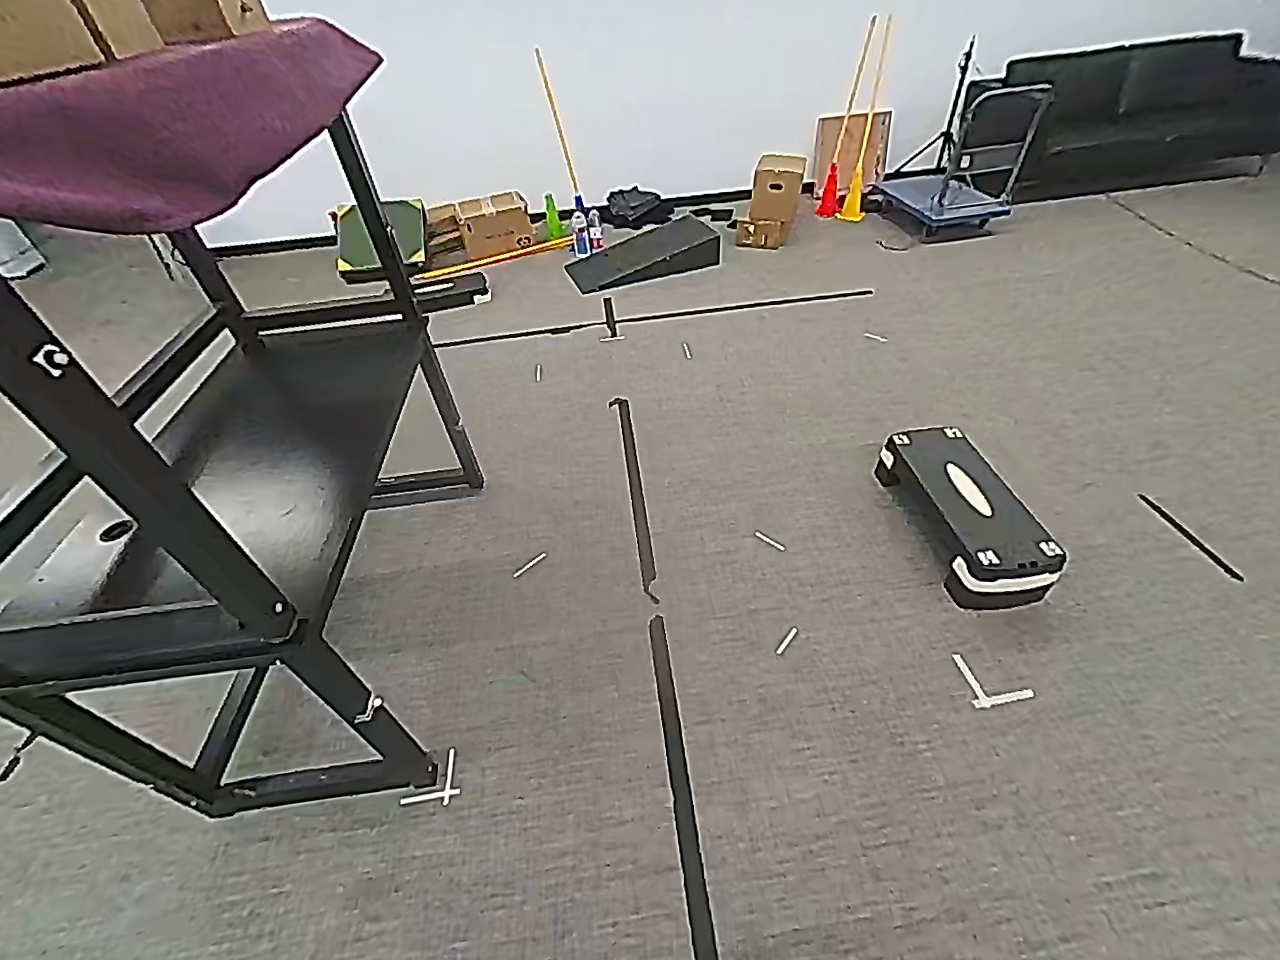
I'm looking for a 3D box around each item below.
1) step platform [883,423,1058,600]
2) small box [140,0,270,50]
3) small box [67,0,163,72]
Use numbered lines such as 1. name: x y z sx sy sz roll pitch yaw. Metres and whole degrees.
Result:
1. step platform: 1.101 0.073 1.869 0.286 0.204 0.684 -4 42 2
2. small box: -0.873 -0.961 1.059 0.168 0.176 0.179 -6 43 2
3. small box: -0.876 -0.718 0.807 0.168 0.176 0.179 -12 44 -5
